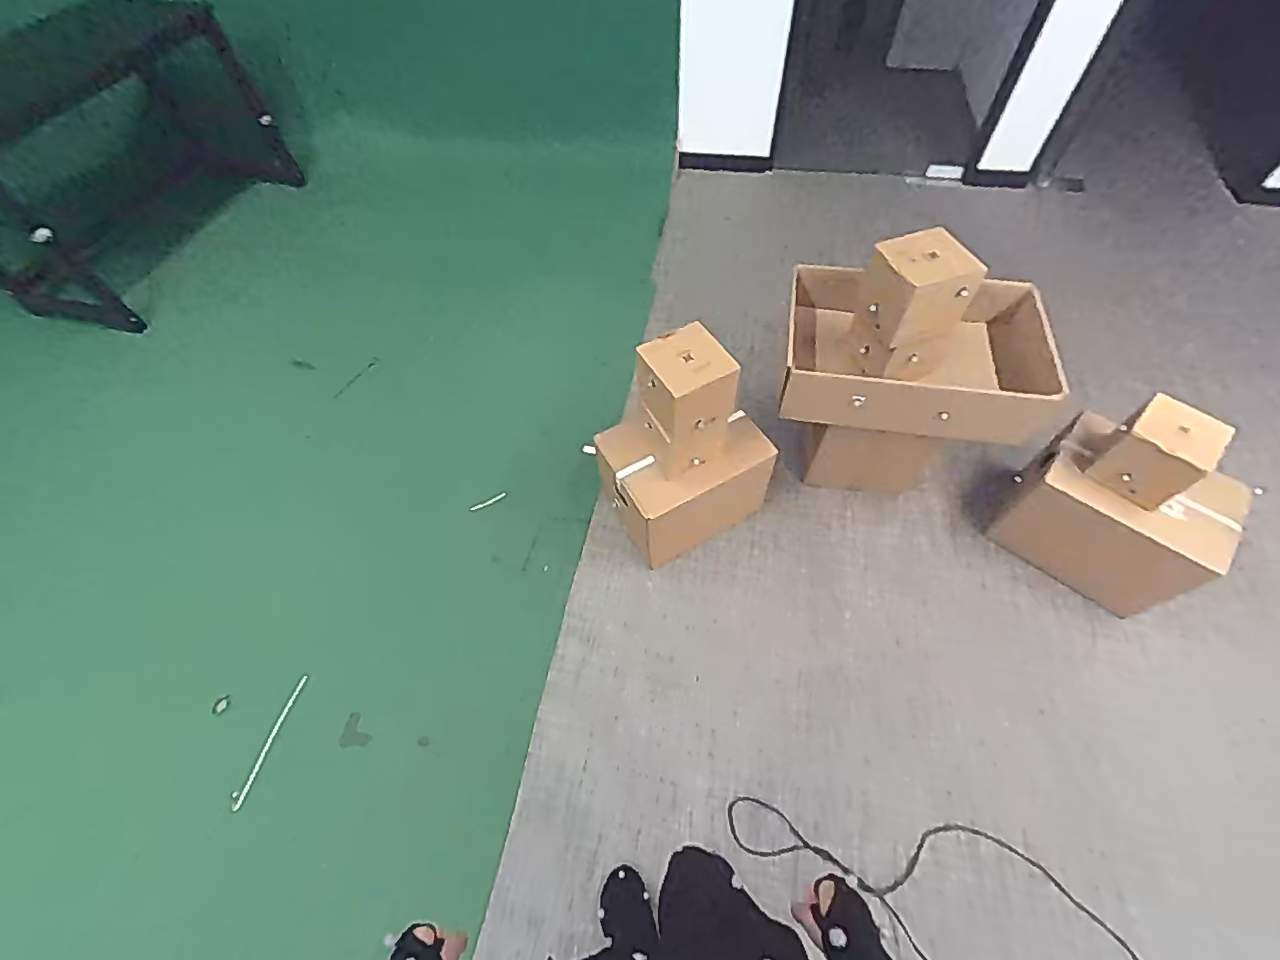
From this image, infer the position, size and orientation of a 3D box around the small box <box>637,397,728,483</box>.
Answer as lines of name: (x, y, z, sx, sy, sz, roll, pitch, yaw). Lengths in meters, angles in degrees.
small box: (0.103, -0.124, 1.373, 0.168, 0.176, 0.179, -24, 59, -12)

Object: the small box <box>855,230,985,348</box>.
small box: (0.621, -0.428, 1.225, 0.179, 0.176, 0.168, -17, 57, -7)

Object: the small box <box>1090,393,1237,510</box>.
small box: (1.228, -0.065, 1.281, 0.179, 0.176, 0.168, -40, 64, -22)

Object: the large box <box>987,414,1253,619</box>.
large box: (1.264, 0.098, 1.464, 0.408, 0.320, 0.320, 36, 65, 22)

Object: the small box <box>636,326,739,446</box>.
small box: (0.103, -0.211, 1.235, 0.168, 0.176, 0.179, -26, 59, -13)
